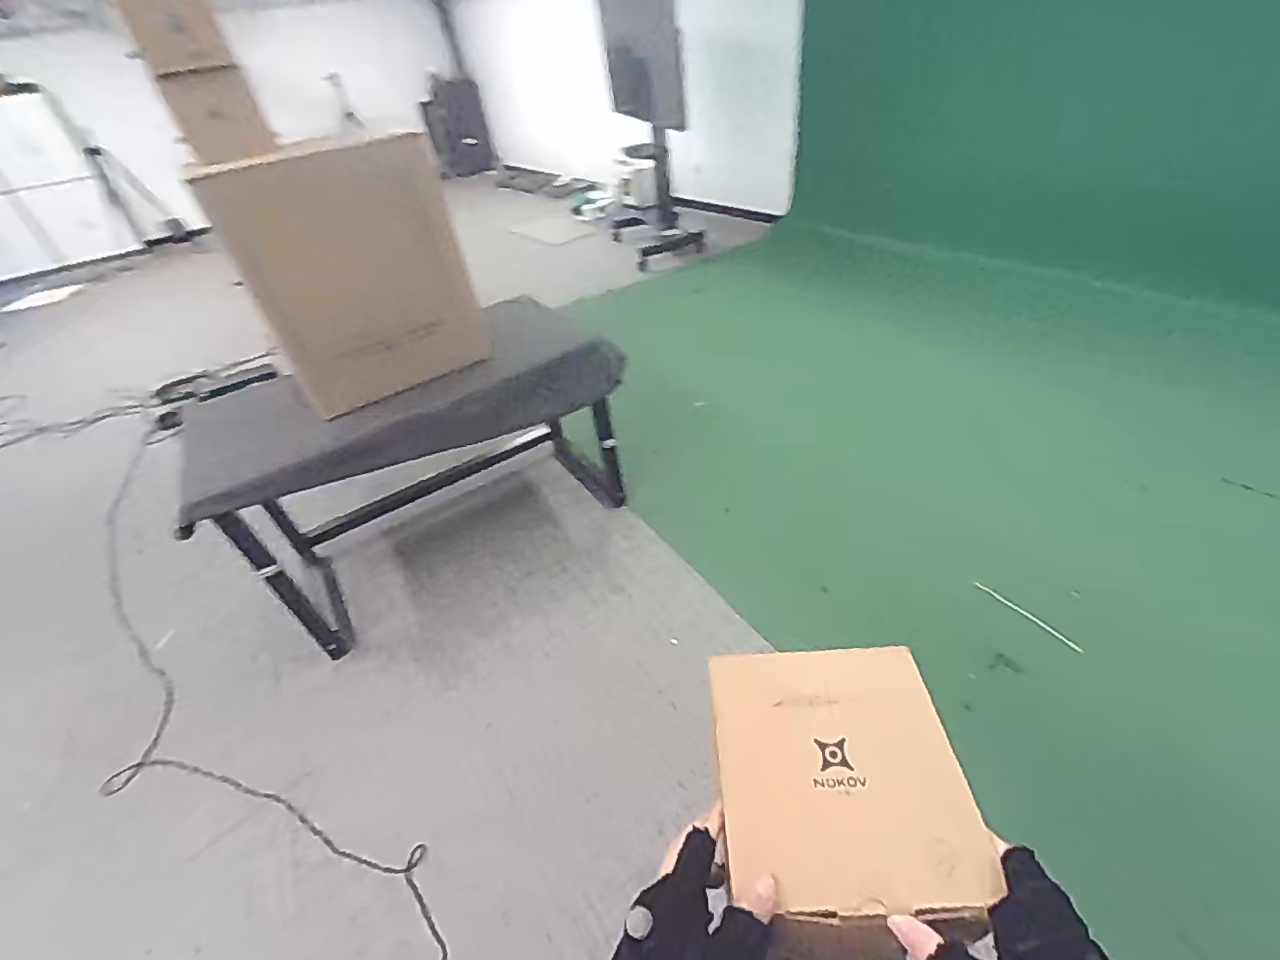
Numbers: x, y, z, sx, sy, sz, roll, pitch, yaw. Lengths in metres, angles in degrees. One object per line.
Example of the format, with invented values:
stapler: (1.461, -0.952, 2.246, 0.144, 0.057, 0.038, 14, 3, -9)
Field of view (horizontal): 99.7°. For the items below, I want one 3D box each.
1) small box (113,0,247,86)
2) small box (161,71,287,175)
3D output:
small box: (-0.971, -0.947, 1.142, 0.168, 0.176, 0.179, -31, 46, -23)
small box: (-0.955, -0.830, 1.255, 0.179, 0.176, 0.168, -32, 46, -23)
